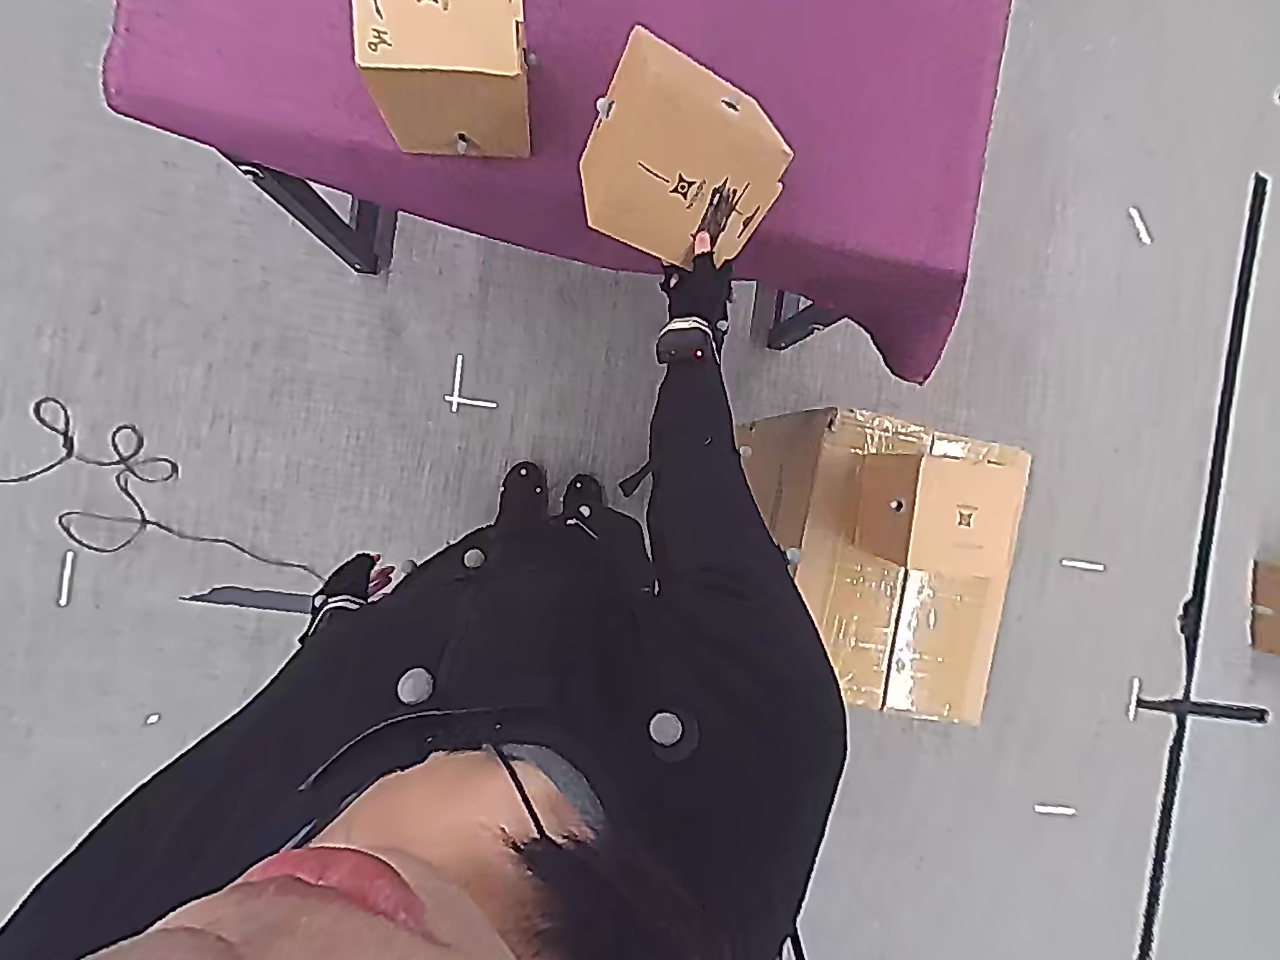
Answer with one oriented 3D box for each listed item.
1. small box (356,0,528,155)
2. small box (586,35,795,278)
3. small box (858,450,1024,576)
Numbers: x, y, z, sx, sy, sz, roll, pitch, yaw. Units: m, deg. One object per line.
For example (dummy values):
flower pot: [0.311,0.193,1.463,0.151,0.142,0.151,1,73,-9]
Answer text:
small box: [-0.231,-0.530,0.668,0.179,0.176,0.168,-2,91,-8]
small box: [0.048,-0.385,0.651,0.179,0.168,0.176,14,47,-26]
small box: [0.478,0.047,0.883,0.168,0.176,0.179,6,93,-5]
